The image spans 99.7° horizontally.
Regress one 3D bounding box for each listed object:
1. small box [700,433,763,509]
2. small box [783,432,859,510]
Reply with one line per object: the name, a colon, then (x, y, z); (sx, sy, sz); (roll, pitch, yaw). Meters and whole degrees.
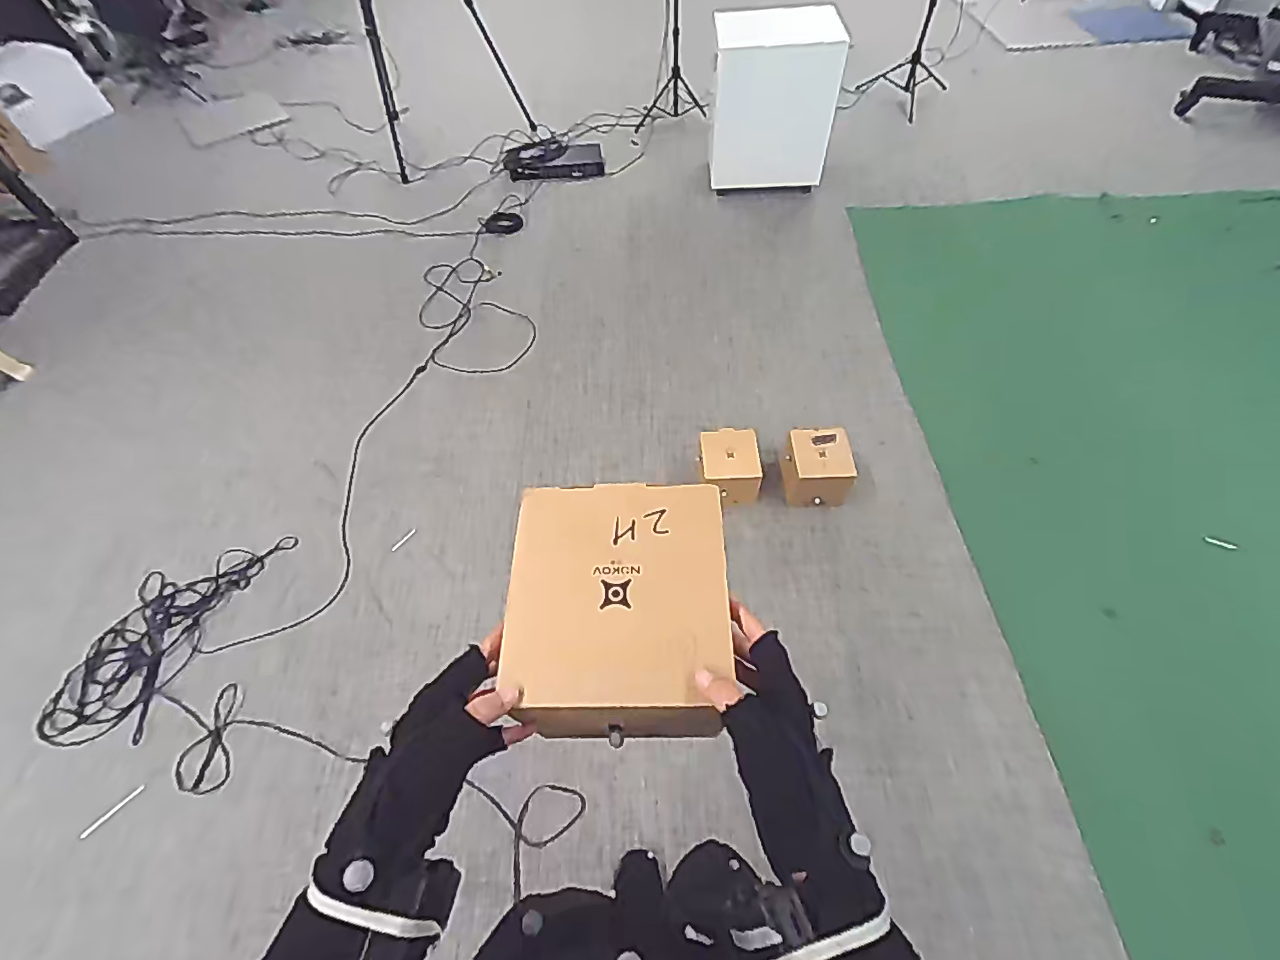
small box: (0.273, -0.021, 1.642); (0.168, 0.176, 0.179); (-3, 56, 1)
small box: (0.536, -0.025, 1.629); (0.168, 0.176, 0.179); (-2, 57, 2)
